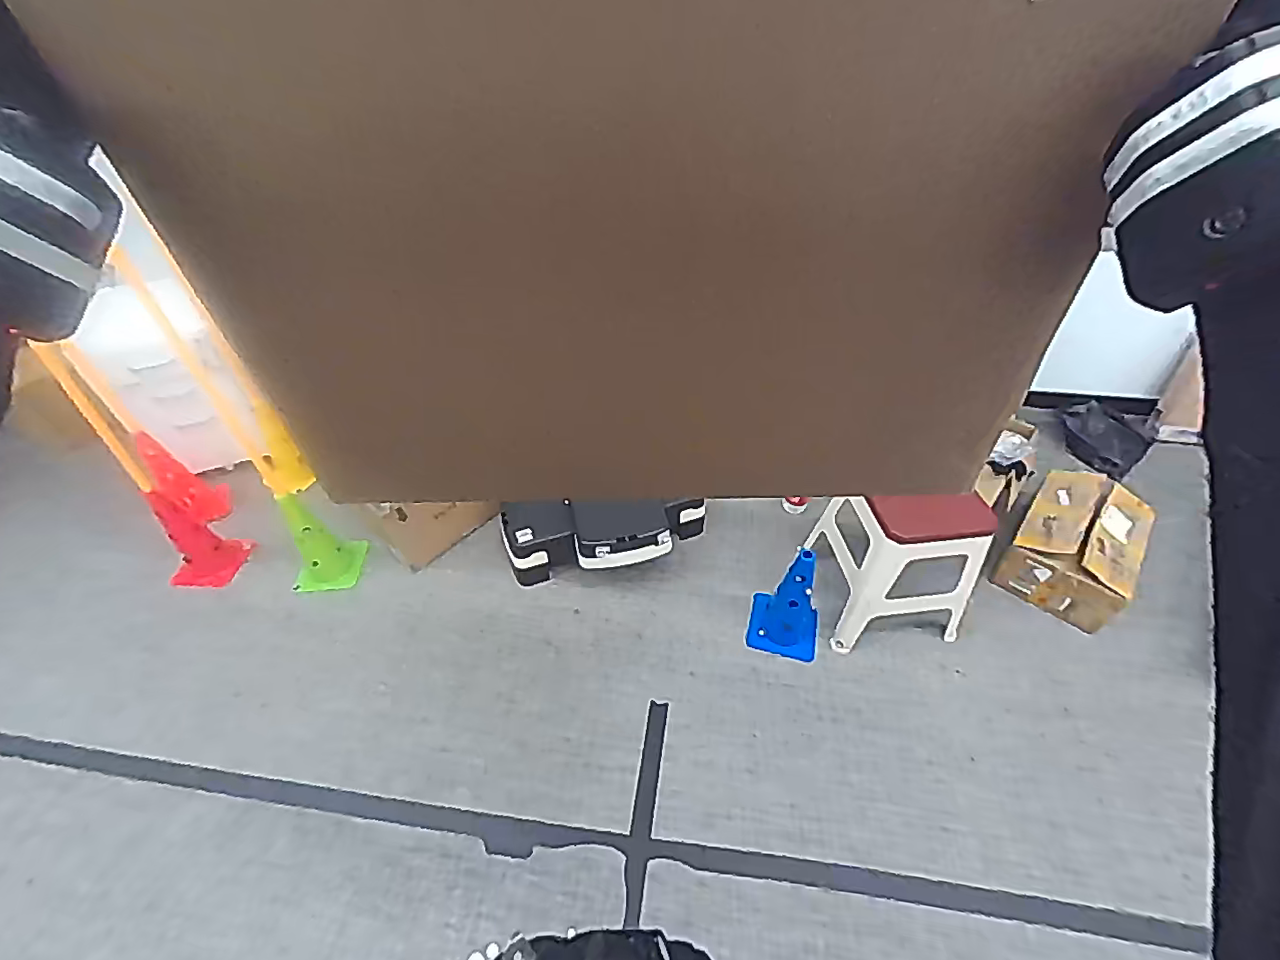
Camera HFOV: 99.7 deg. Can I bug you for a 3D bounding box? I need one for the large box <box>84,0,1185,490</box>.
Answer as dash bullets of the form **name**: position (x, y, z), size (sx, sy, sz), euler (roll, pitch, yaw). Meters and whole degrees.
- **large box**: position (0.000, -0.207, 0.358), size (0.408, 0.320, 0.320), euler (-1, 44, 2)
